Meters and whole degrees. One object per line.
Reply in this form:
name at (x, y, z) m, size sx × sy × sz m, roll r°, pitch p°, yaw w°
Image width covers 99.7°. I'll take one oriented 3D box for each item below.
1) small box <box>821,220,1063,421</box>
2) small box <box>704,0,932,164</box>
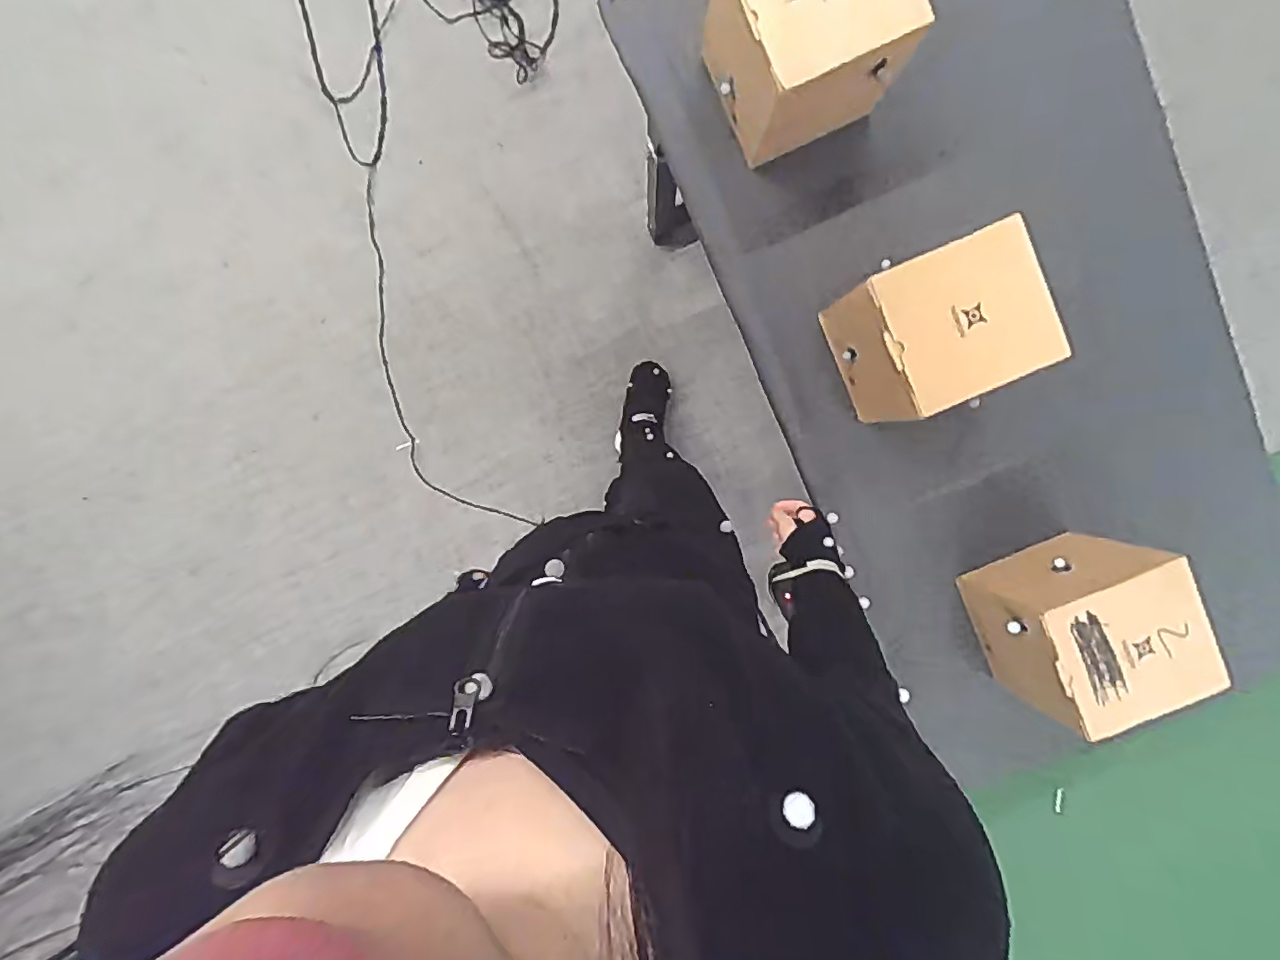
small box at (0.354, -0.181, 0.667) m, size 0.179 × 0.176 × 0.168 m, roll -24°, pitch 95°, yaw 2°
small box at (0.192, -0.517, 0.634) m, size 0.179 × 0.176 × 0.168 m, roll -24°, pitch 95°, yaw 2°
